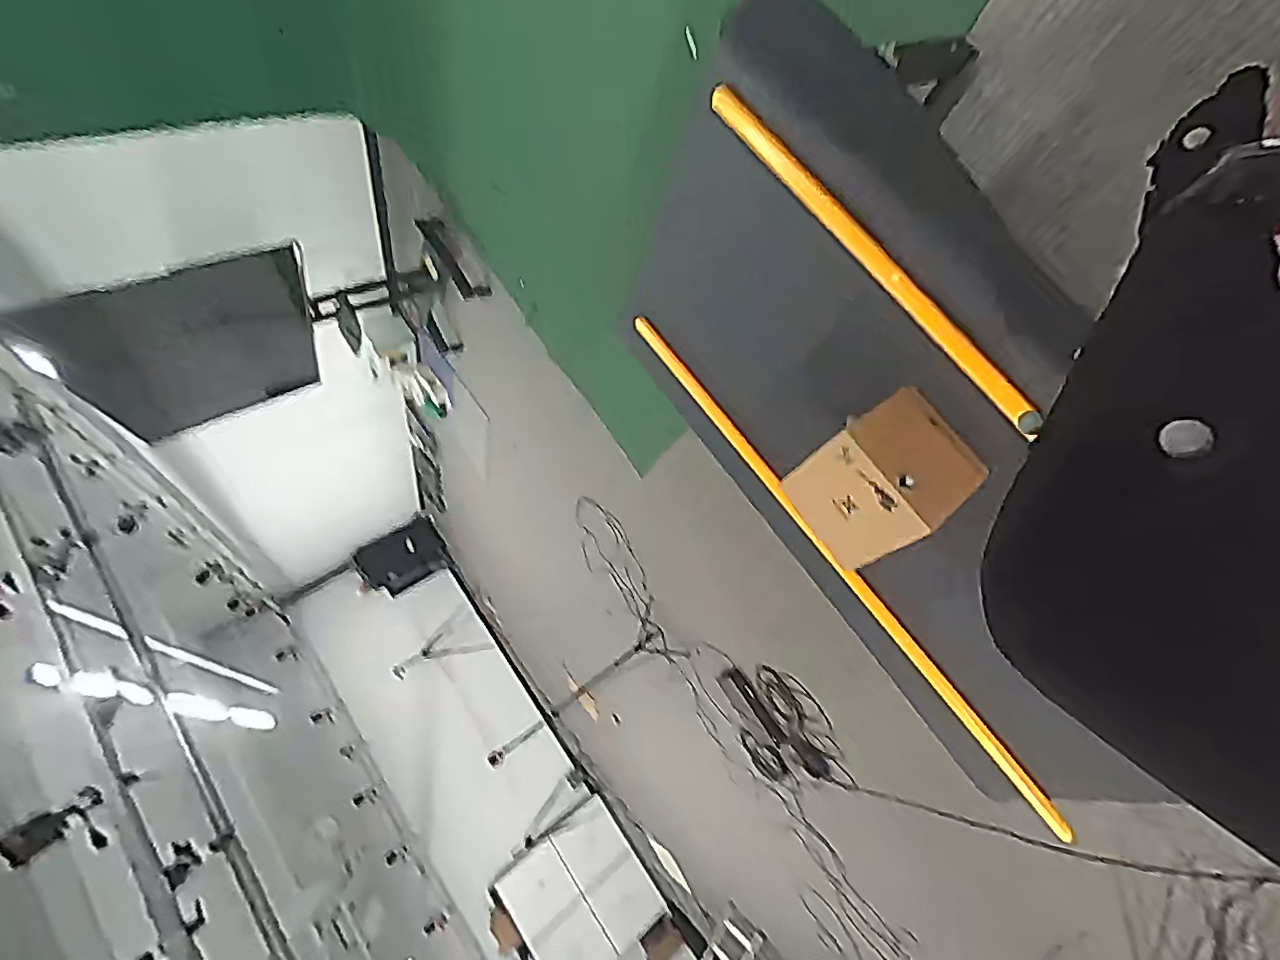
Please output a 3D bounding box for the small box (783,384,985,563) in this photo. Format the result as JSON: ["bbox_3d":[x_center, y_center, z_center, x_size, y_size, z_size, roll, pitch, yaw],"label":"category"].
[{"bbox_3d":[0.353,-0.009,0.794,0.168,0.176,0.179,52,152,12],"label":"small box"}]
